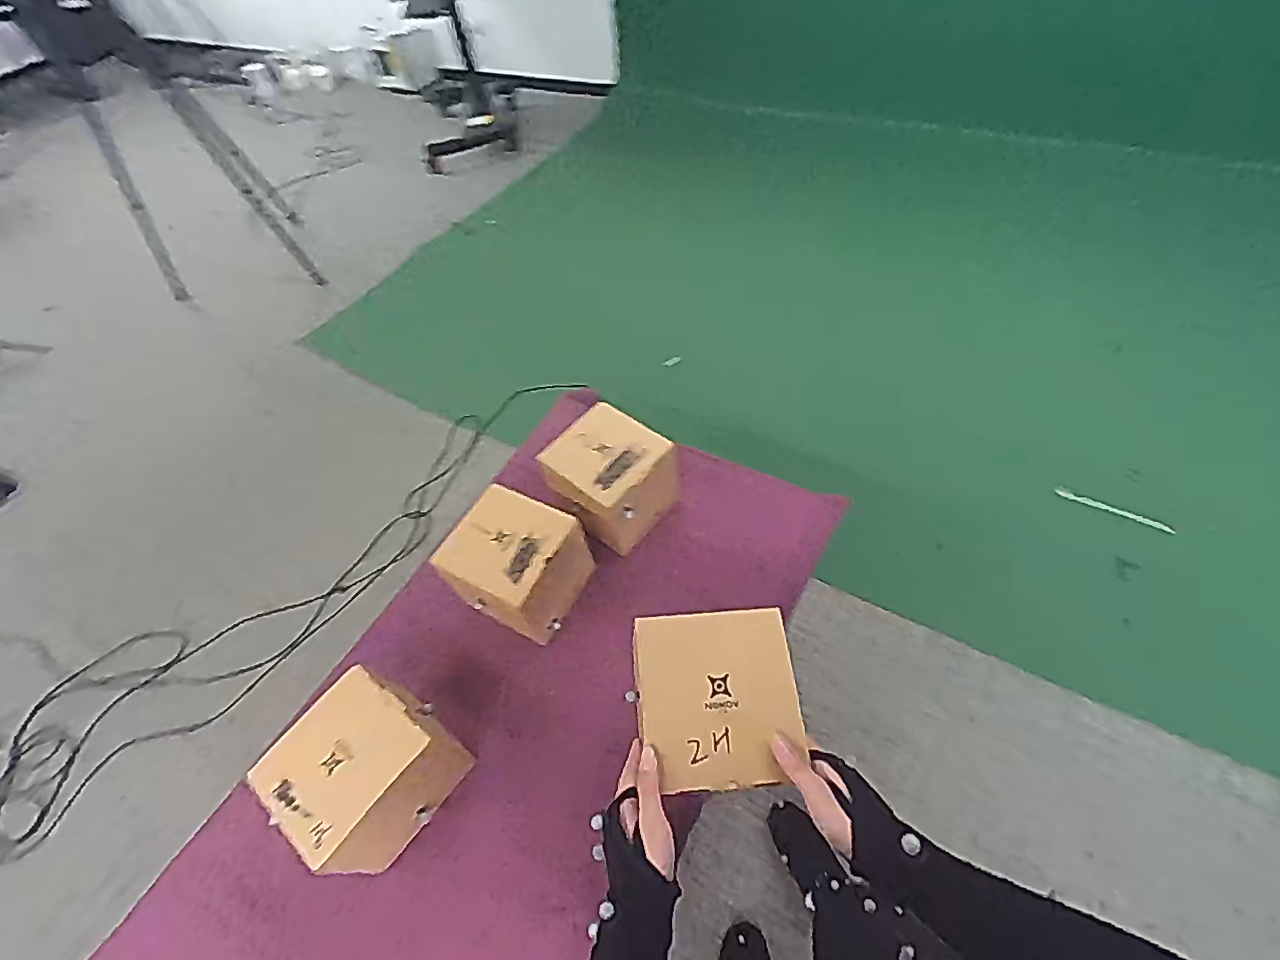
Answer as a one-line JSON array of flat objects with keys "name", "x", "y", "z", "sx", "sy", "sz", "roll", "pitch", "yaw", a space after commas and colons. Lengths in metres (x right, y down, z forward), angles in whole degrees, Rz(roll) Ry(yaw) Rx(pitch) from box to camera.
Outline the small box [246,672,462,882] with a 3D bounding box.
[{"name": "small box", "x": -0.369, "y": 0.403, "z": 0.737, "sx": 0.168, "sy": 0.176, "sz": 0.179, "roll": 30, "pitch": 62, "yaw": 25}]

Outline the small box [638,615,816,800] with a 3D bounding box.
[{"name": "small box", "x": 0.084, "y": 0.268, "z": 0.632, "sx": 0.168, "sy": 0.176, "sz": 0.179, "roll": -3, "pitch": 62, "yaw": -2}]
